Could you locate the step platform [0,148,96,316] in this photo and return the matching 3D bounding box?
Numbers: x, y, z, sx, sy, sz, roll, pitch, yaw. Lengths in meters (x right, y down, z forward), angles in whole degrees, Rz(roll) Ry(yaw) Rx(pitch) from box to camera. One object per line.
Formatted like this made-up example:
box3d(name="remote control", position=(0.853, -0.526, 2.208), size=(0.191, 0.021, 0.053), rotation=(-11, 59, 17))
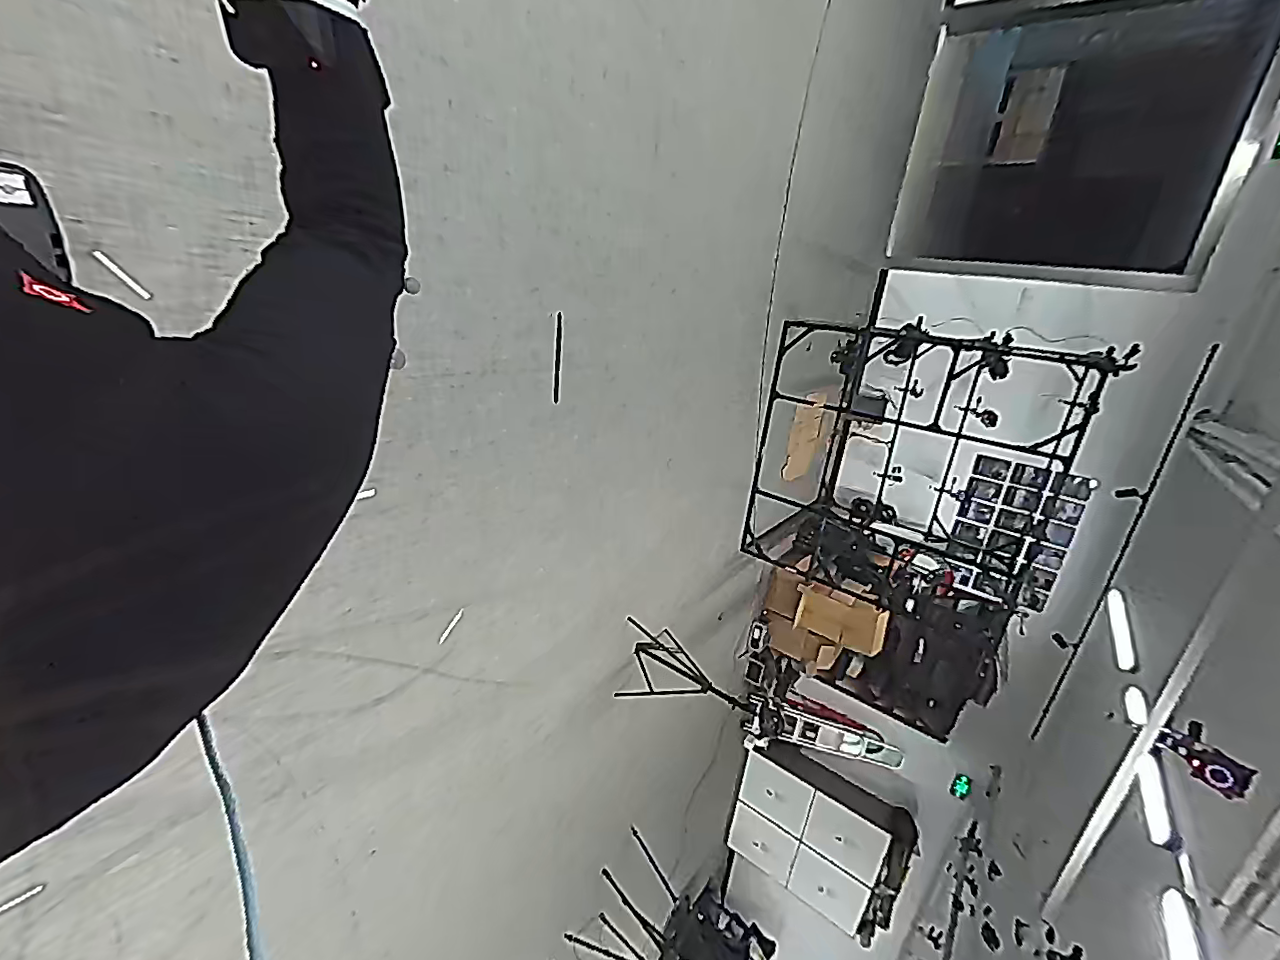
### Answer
box3d(name="step platform", position=(-1.321, -0.403, 0.827), size=(0.684, 0.204, 0.286), rotation=(-23, 126, -50))
